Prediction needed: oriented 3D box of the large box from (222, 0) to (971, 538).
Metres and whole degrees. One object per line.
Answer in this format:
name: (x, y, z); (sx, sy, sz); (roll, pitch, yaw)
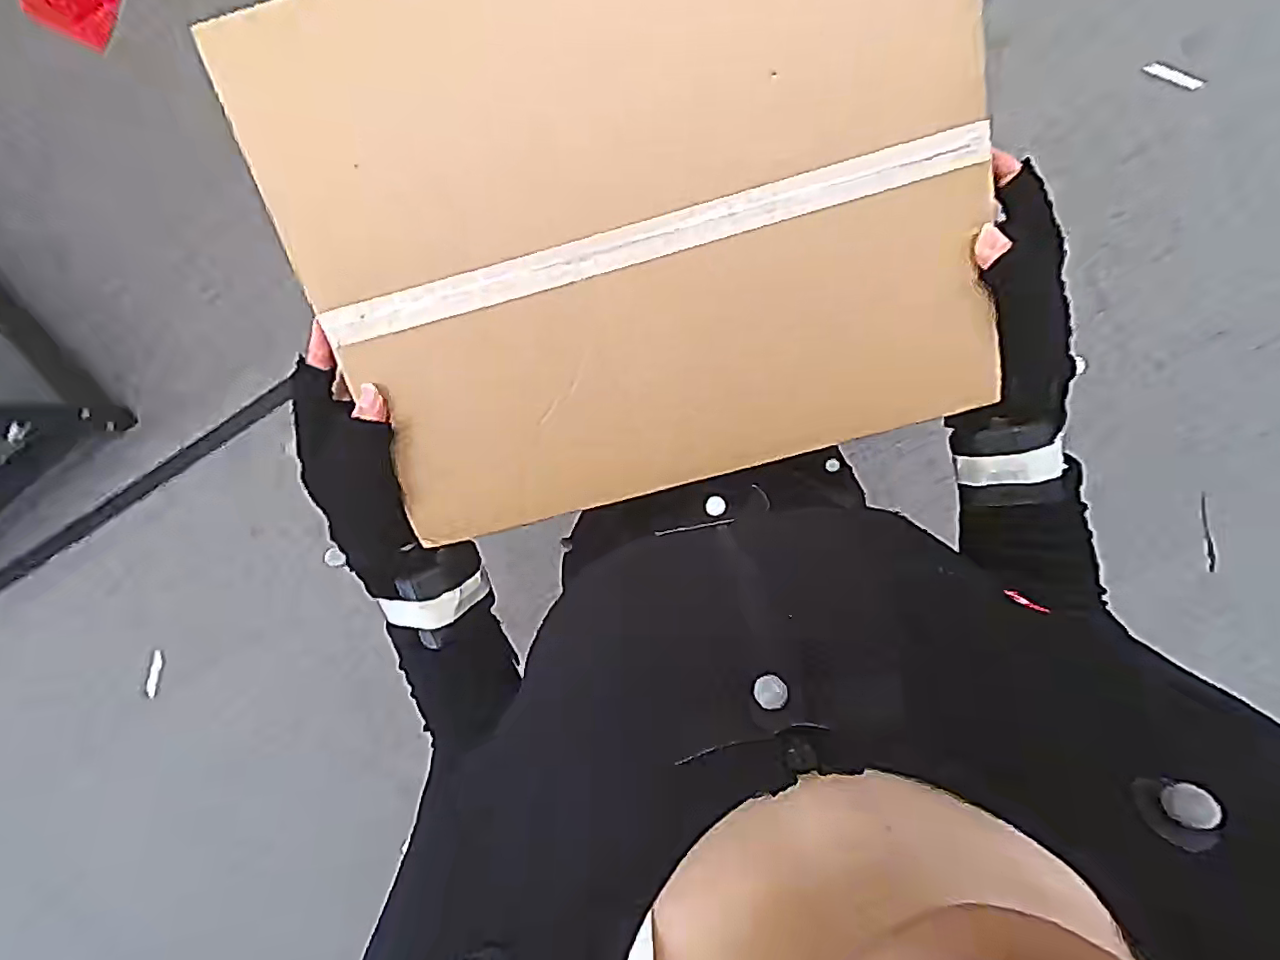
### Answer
large box: (-0.005, -0.195, 0.472); (0.408, 0.320, 0.320); (-14, 109, 3)
